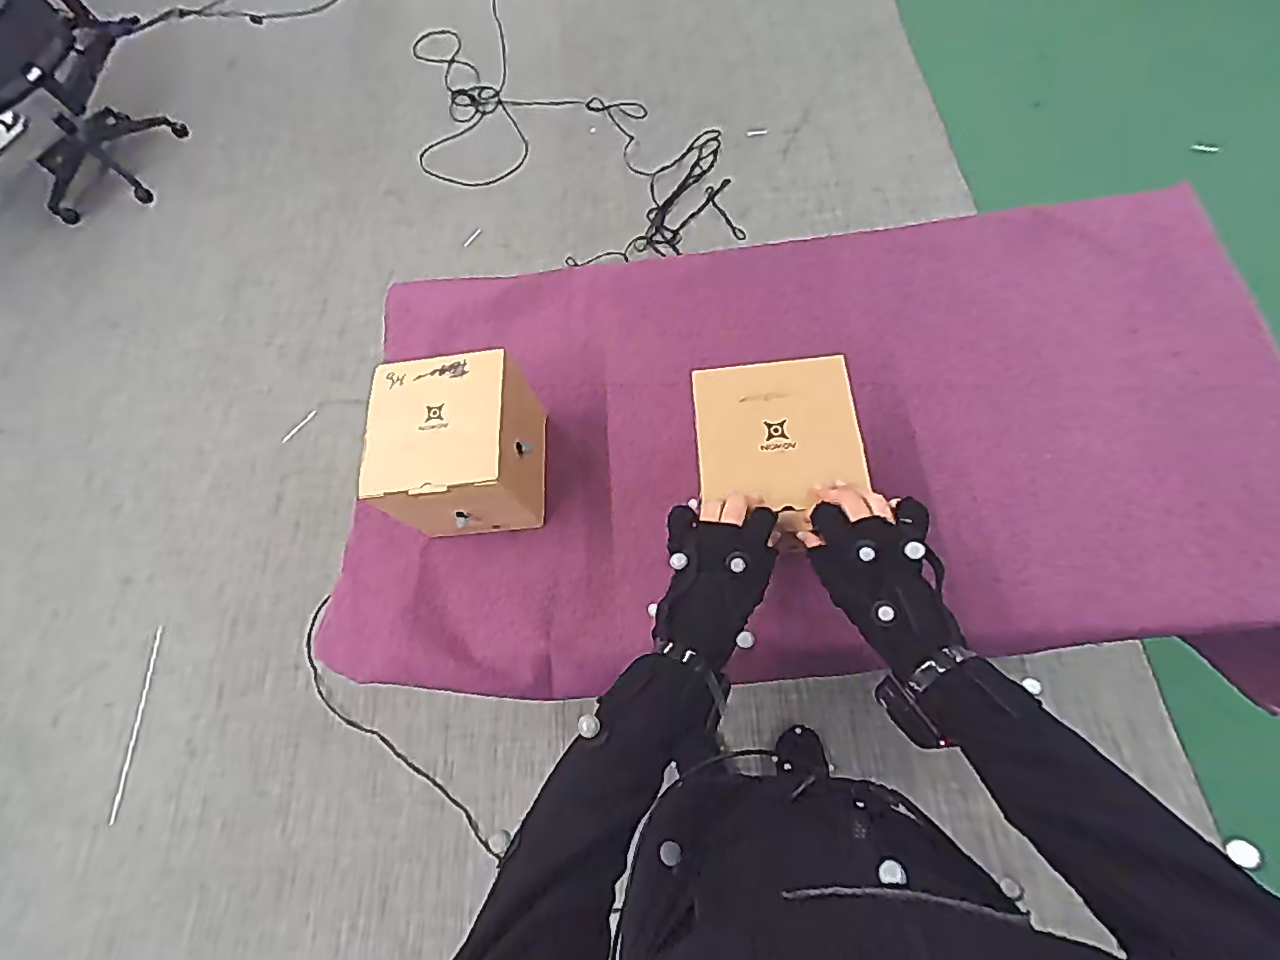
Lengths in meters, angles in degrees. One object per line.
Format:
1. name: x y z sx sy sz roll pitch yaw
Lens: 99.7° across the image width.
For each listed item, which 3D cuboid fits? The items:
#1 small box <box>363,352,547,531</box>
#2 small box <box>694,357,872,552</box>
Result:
1. small box: -0.222 -0.037 0.696 0.168 0.176 0.179 -6 68 6
2. small box: 0.153 -0.017 0.632 0.168 0.176 0.179 -5 68 6
